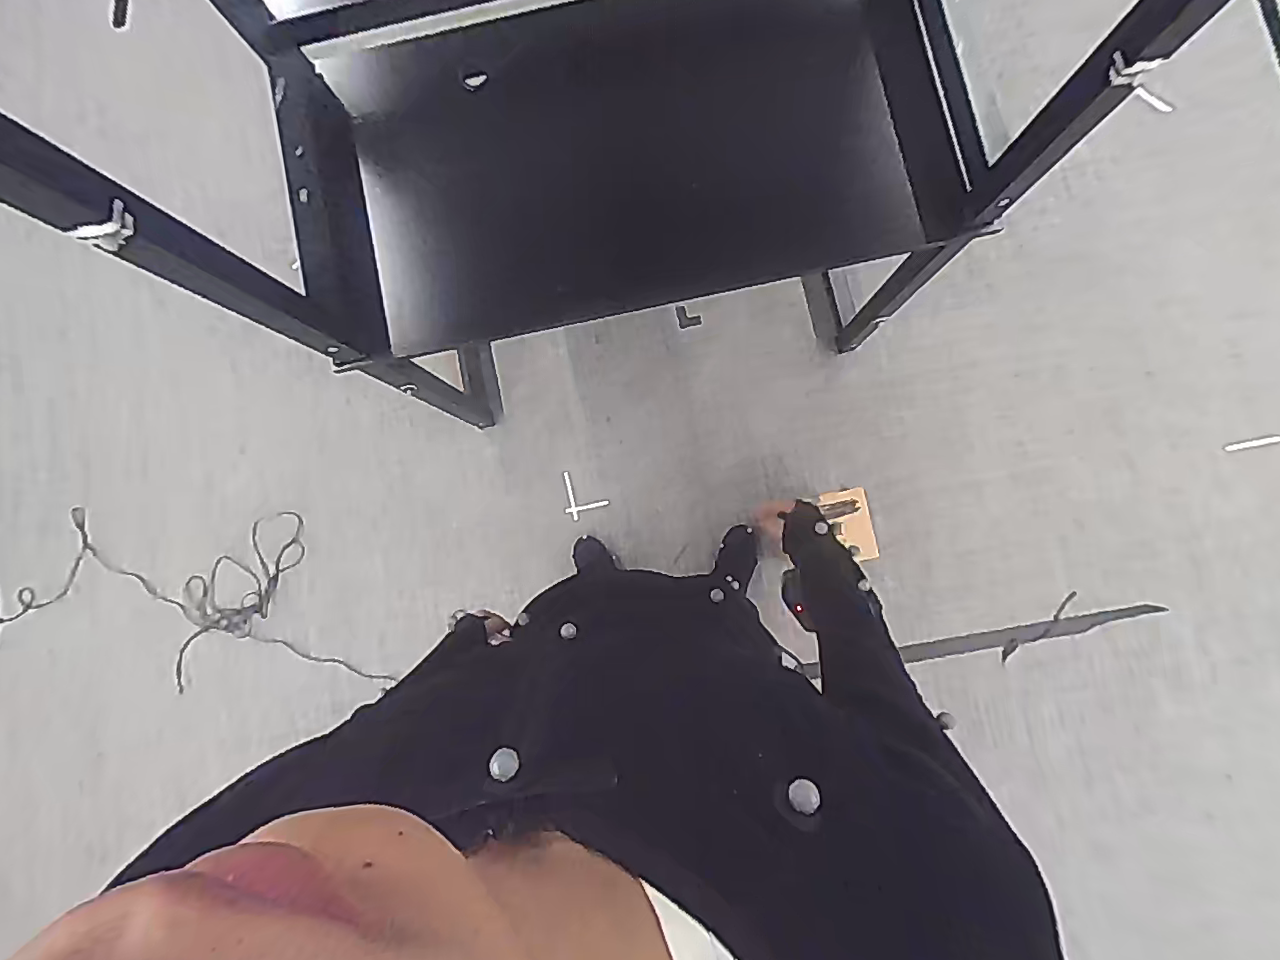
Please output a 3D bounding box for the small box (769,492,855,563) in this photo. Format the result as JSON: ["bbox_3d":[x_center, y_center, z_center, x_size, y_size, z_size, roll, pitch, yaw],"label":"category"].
[{"bbox_3d":[0.482,0.132,1.536,0.179,0.176,0.168,-14,85,3],"label":"small box"}]
